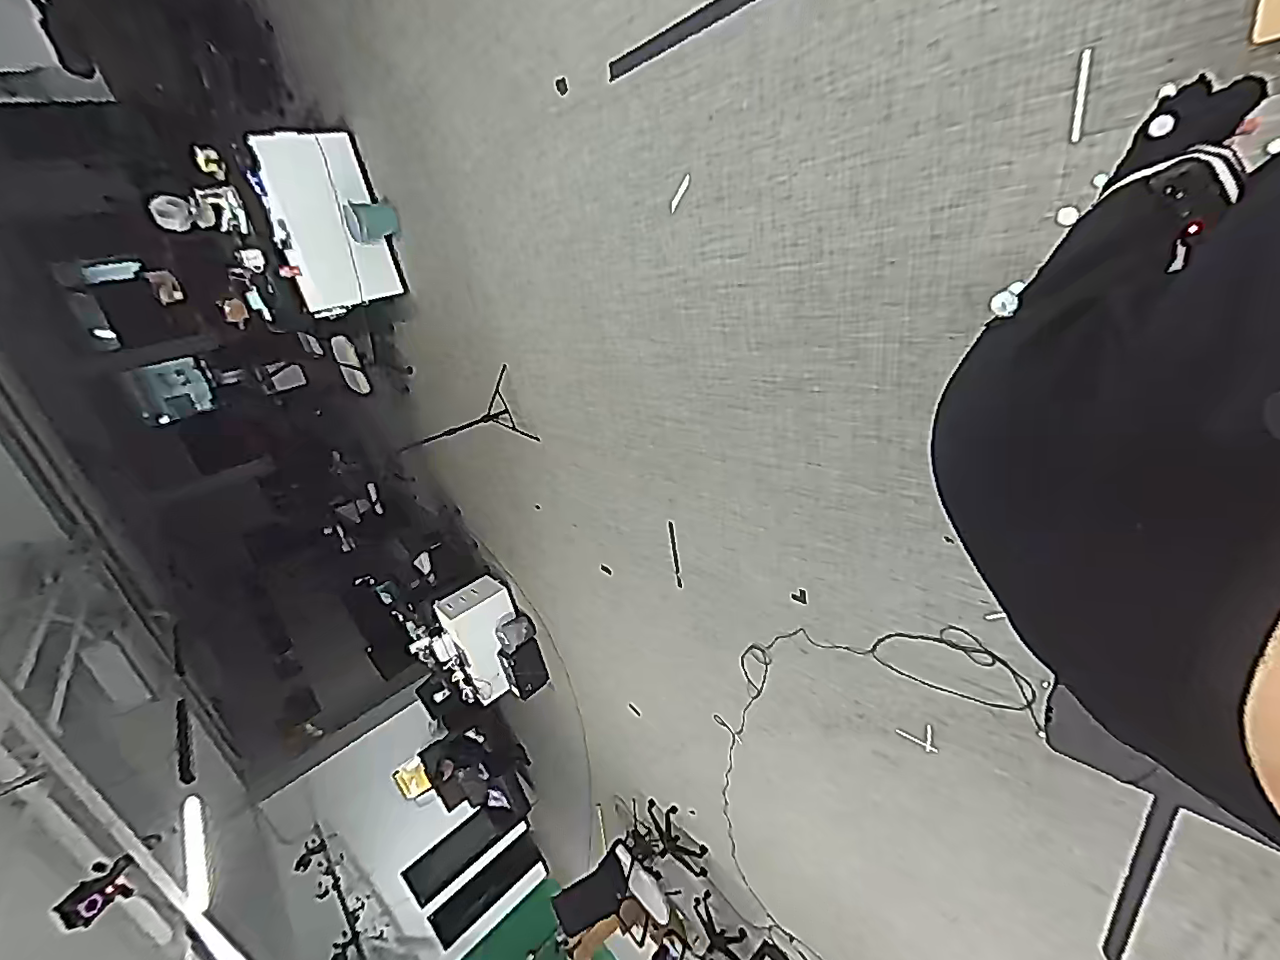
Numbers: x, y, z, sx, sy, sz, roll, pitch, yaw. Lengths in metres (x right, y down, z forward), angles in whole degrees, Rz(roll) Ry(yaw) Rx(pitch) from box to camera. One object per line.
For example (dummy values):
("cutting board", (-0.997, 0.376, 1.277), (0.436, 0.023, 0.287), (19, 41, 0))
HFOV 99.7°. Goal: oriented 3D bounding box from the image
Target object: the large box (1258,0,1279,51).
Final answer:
("large box", (1.000, -0.738, 0.584), (0.408, 0.320, 0.320), (13, 124, 47))
